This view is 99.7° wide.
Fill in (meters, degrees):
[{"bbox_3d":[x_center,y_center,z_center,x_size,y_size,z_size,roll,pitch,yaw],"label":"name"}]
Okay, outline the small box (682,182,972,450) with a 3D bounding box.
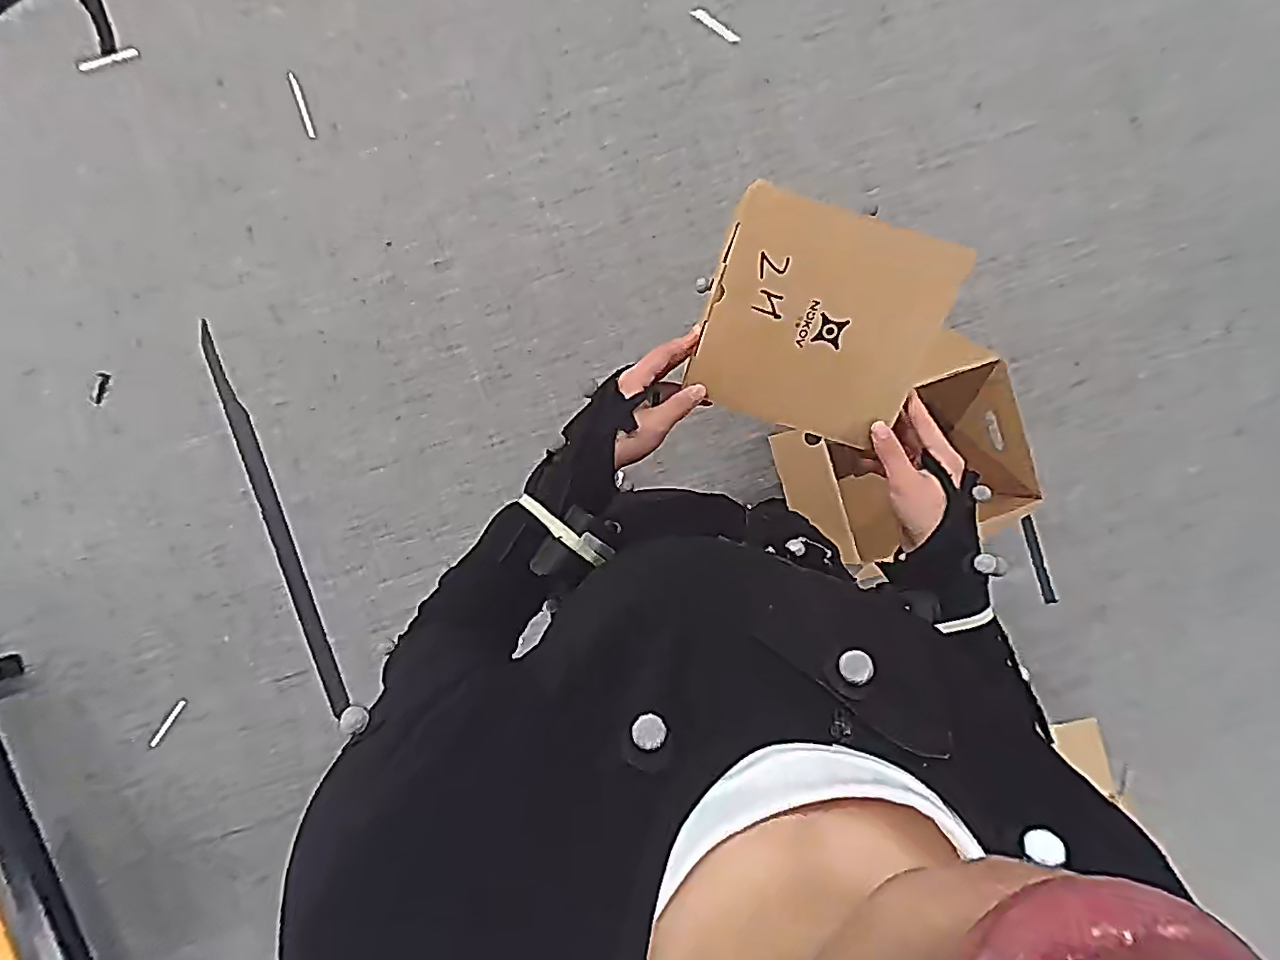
[{"bbox_3d":[0.147,-0.150,0.497,0.179,0.176,0.168,18,111,-1],"label":"small box"}]
